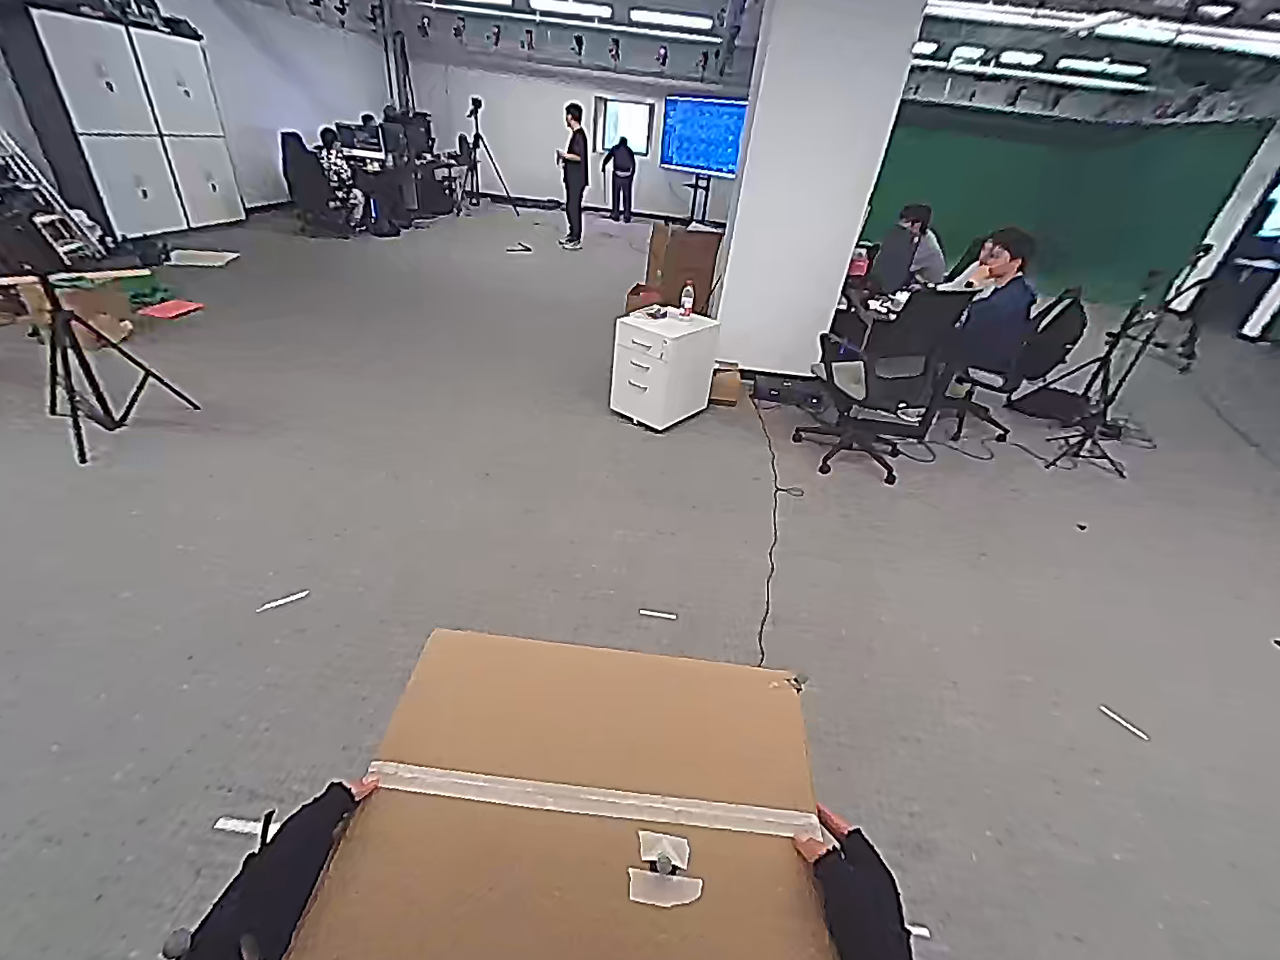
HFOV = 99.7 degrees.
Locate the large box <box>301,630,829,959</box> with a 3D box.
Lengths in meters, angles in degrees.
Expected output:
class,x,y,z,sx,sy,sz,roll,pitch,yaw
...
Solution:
class,x,y,z,sx,sy,sz,roll,pitch,yaw
large box,-0.055,0.403,0.591,0.408,0.320,0.320,7,40,1
